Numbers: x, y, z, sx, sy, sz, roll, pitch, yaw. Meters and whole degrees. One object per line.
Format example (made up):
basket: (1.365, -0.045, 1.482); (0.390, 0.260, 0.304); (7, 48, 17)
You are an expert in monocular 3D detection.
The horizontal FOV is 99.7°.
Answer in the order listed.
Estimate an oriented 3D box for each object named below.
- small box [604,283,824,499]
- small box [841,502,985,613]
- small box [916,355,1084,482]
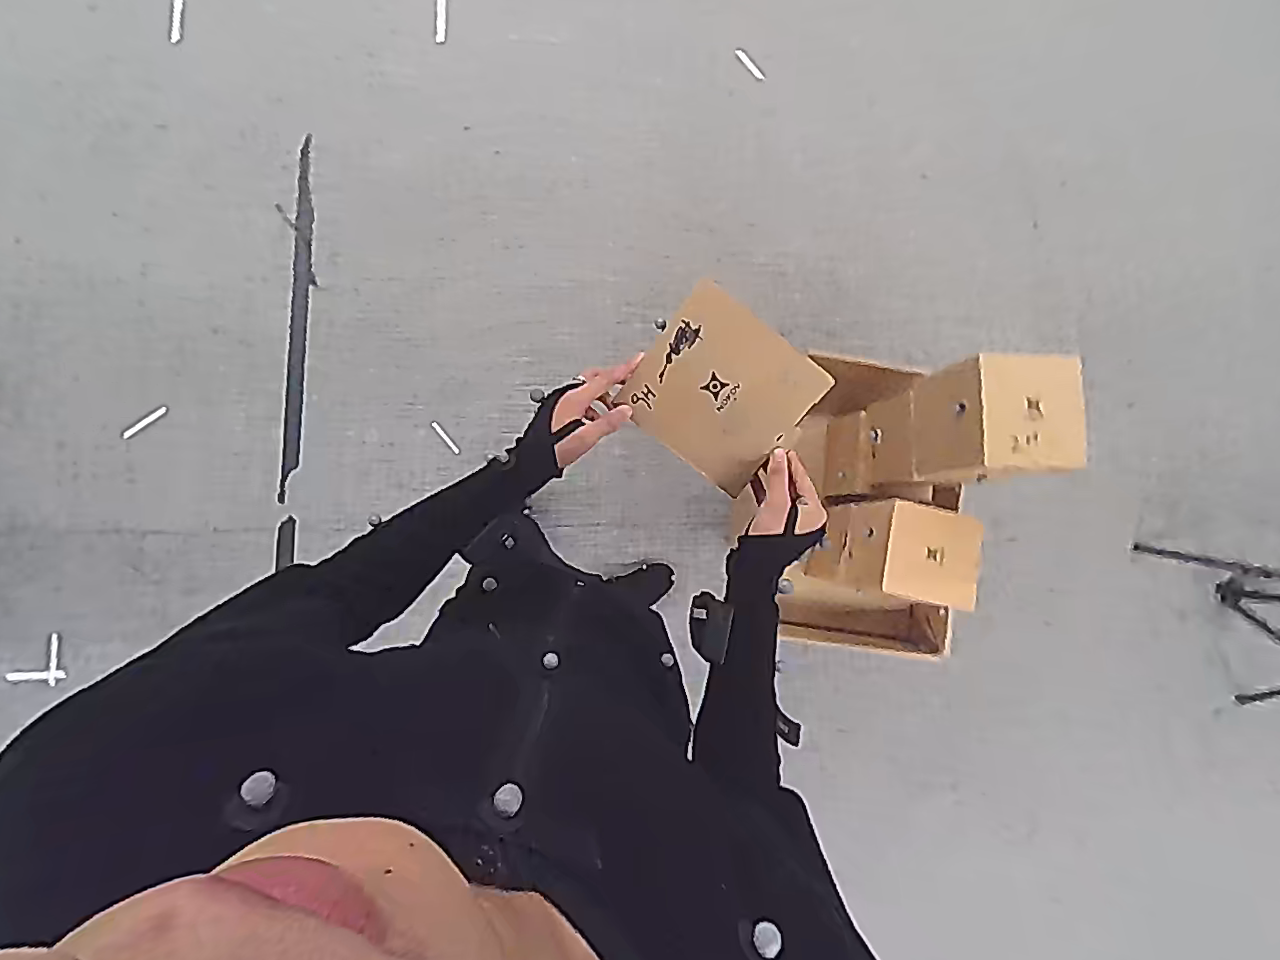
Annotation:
small box: (0.082, -0.110, 0.648); (0.179, 0.176, 0.168); (37, 103, -5)
small box: (0.508, 0.145, 1.028); (0.179, 0.176, 0.168); (13, 83, -4)
small box: (0.578, -0.092, 0.887); (0.168, 0.176, 0.179); (1, 86, -5)
